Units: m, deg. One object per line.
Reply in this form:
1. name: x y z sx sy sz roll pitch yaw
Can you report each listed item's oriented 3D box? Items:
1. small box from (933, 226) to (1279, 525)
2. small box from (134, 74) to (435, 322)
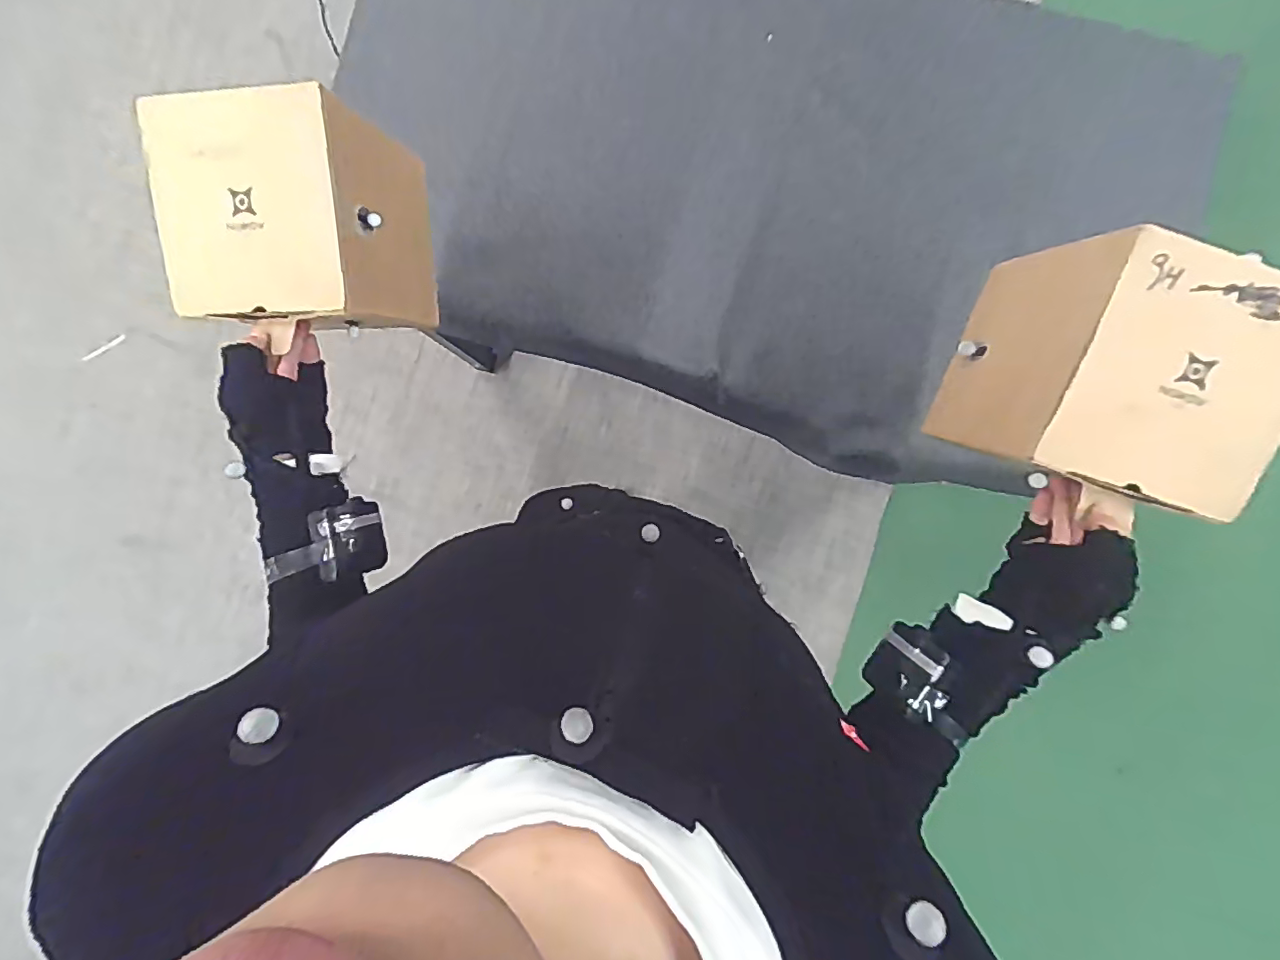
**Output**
1. small box: 0.392 -0.088 0.468 0.168 0.176 0.179 18 103 -4
2. small box: -0.315 -0.246 0.520 0.168 0.176 0.179 0 102 6
